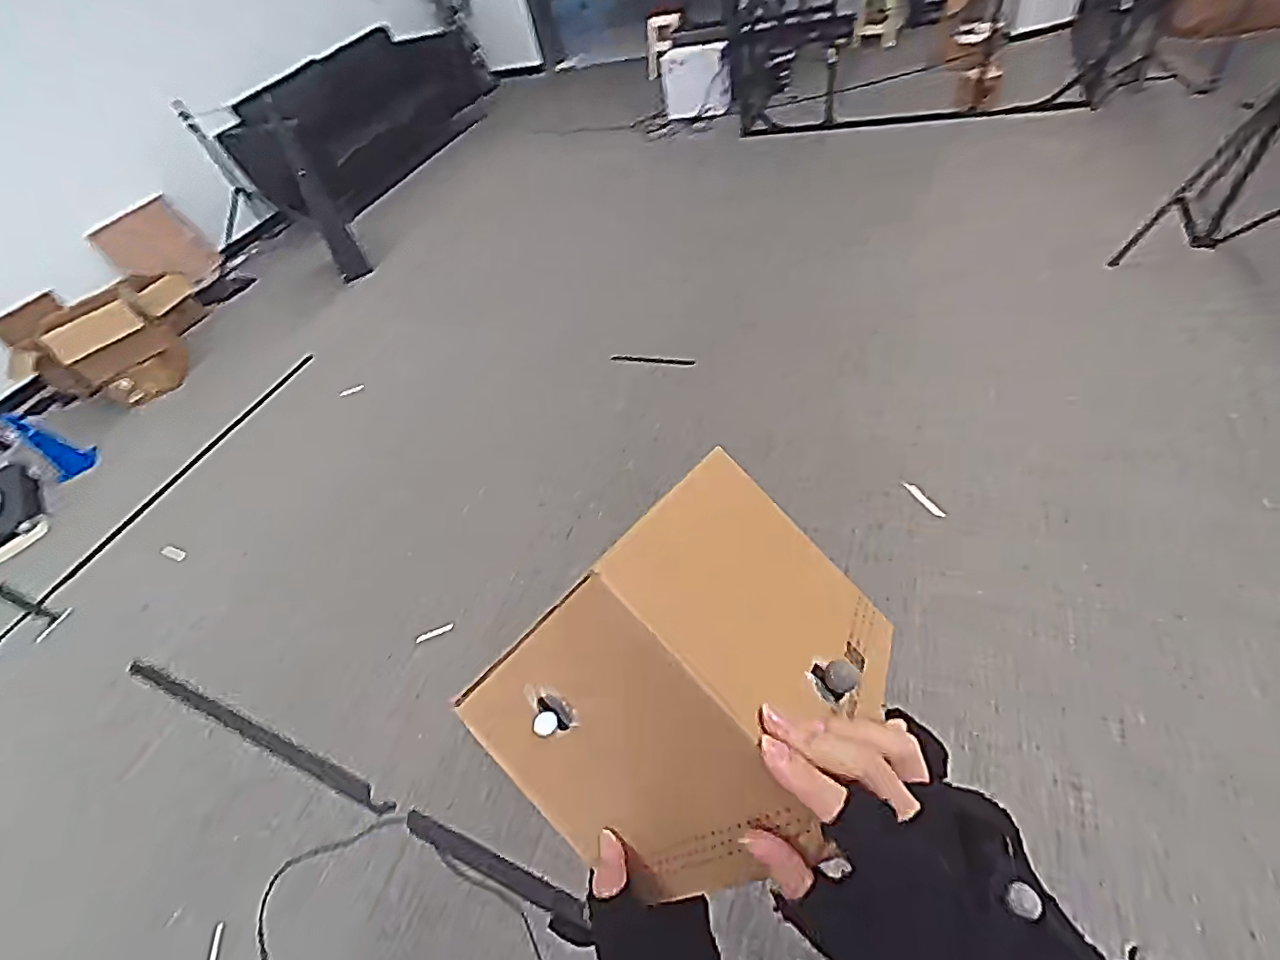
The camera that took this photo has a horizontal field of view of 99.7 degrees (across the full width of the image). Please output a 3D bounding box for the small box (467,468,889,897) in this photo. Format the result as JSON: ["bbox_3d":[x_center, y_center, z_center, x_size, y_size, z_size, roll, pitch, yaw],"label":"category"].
[{"bbox_3d":[0.028,0.130,0.355,0.176,0.179,0.168,45,36,3],"label":"small box"}]
